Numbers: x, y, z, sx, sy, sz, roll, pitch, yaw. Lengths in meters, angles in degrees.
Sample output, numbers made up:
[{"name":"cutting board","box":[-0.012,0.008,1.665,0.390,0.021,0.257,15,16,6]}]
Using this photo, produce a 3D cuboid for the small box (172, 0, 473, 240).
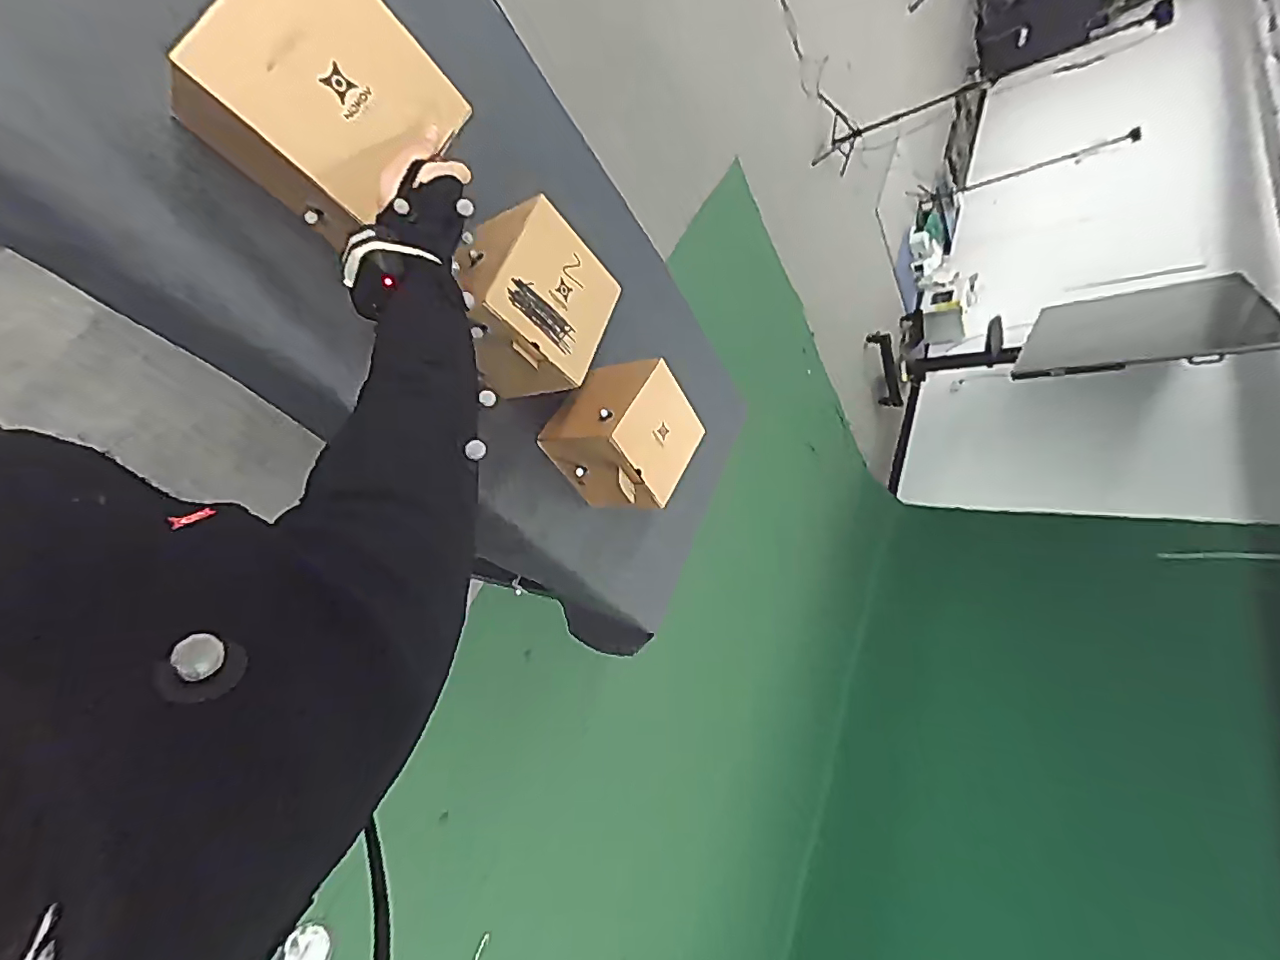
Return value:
[{"name":"small box","box":[-0.305,-0.358,0.526,0.179,0.176,0.168,38,77,-41]}]

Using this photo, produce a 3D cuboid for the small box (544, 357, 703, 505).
[{"name":"small box","box":[-0.027,-0.080,0.896,0.168,0.176,0.179,53,54,-36]}]
